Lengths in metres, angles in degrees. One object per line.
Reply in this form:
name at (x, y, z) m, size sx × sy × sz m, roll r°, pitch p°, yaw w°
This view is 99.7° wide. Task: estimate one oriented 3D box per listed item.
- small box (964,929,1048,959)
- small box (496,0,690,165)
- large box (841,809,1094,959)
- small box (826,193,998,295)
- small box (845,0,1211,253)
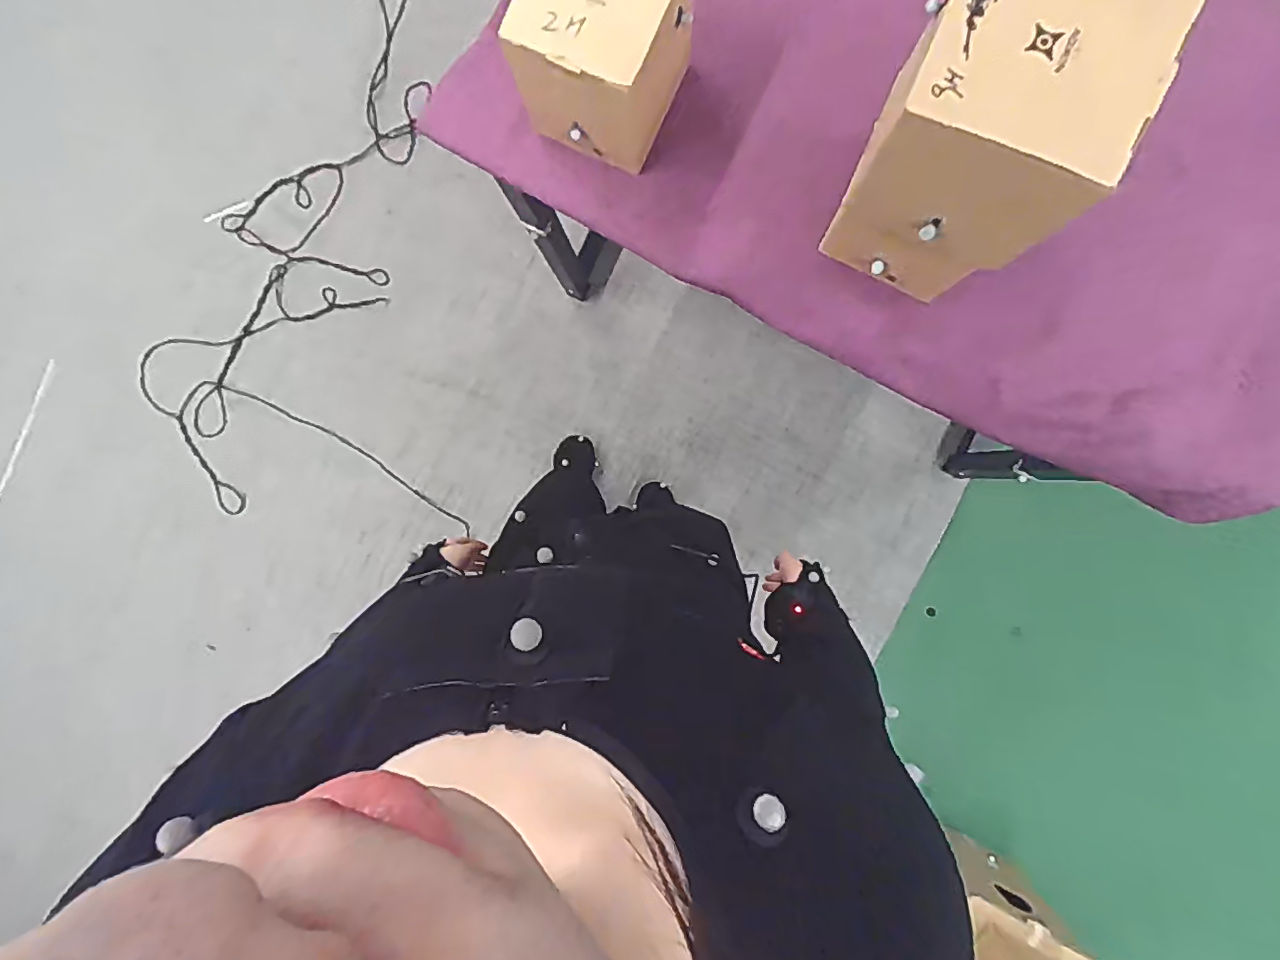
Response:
small box at (0.768, 1.053, 1.065) m, size 0.179 × 0.176 × 0.168 m, roll 30°, pitch 94°, yaw 4°
small box at (-0.047, -0.539, 0.663) m, size 0.168 × 0.176 × 0.179 m, roll 25°, pitch 92°, yaw 3°
large box at (0.758, 1.124, 1.312) m, size 0.320 × 0.320 × 0.408 m, roll 28°, pitch 94°, yaw 3°
small box at (0.347, -0.355, 0.645) m, size 0.168 × 0.176 × 0.179 m, roll 27°, pitch 93°, yaw 3°
small box at (0.317, -0.330, 0.483) m, size 0.179 × 0.176 × 0.168 m, roll 24°, pitch 93°, yaw 3°
